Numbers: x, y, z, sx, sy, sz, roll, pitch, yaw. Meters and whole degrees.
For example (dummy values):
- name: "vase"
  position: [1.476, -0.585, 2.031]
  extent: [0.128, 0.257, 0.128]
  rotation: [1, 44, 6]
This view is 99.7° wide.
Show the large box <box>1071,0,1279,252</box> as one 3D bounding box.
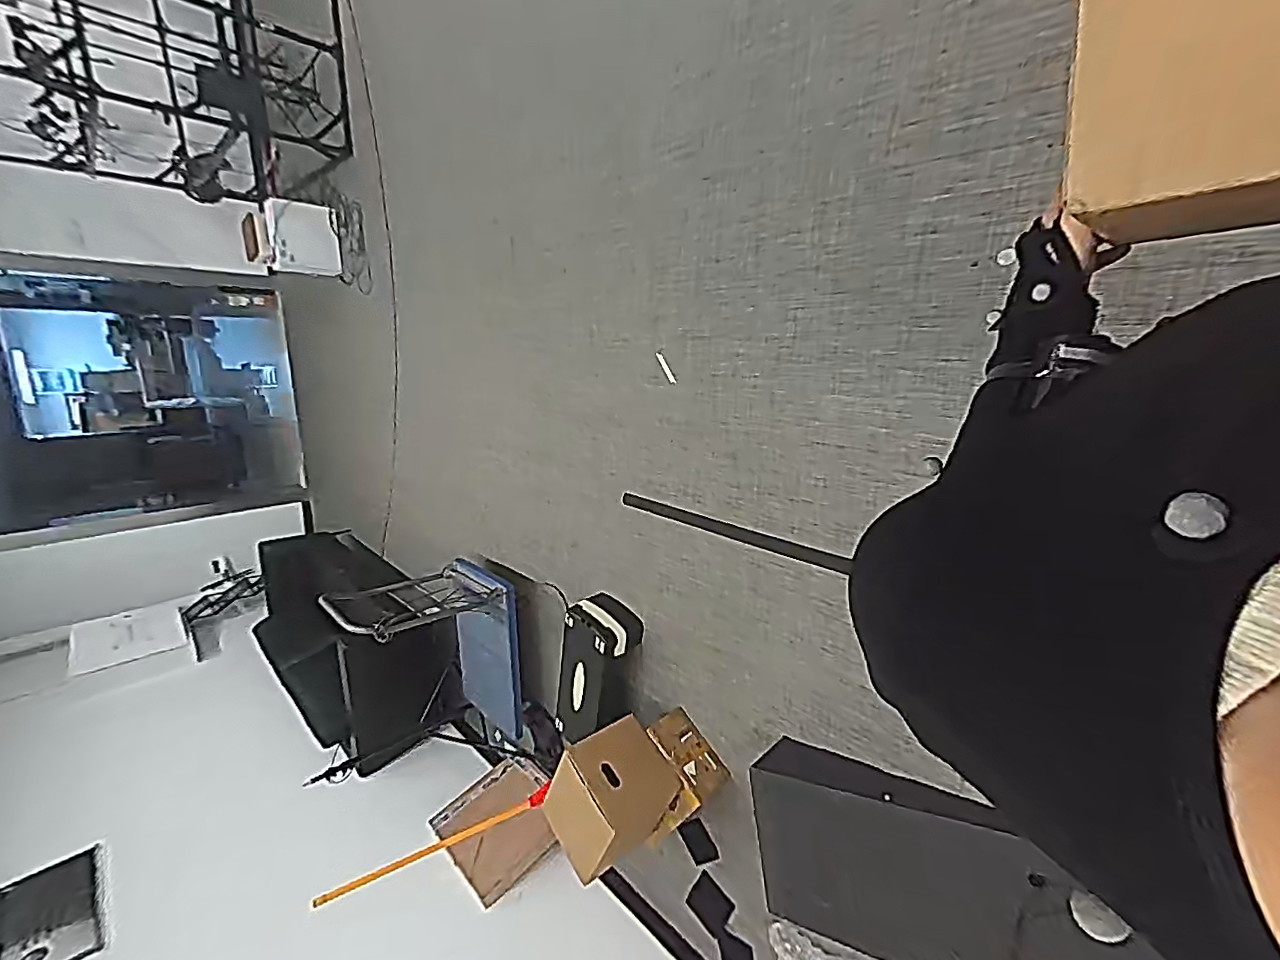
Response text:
- name: "large box"
  position: [0.447, -0.302, 0.217]
  extent: [0.408, 0.320, 0.320]
  rotation: [6, 109, 42]
